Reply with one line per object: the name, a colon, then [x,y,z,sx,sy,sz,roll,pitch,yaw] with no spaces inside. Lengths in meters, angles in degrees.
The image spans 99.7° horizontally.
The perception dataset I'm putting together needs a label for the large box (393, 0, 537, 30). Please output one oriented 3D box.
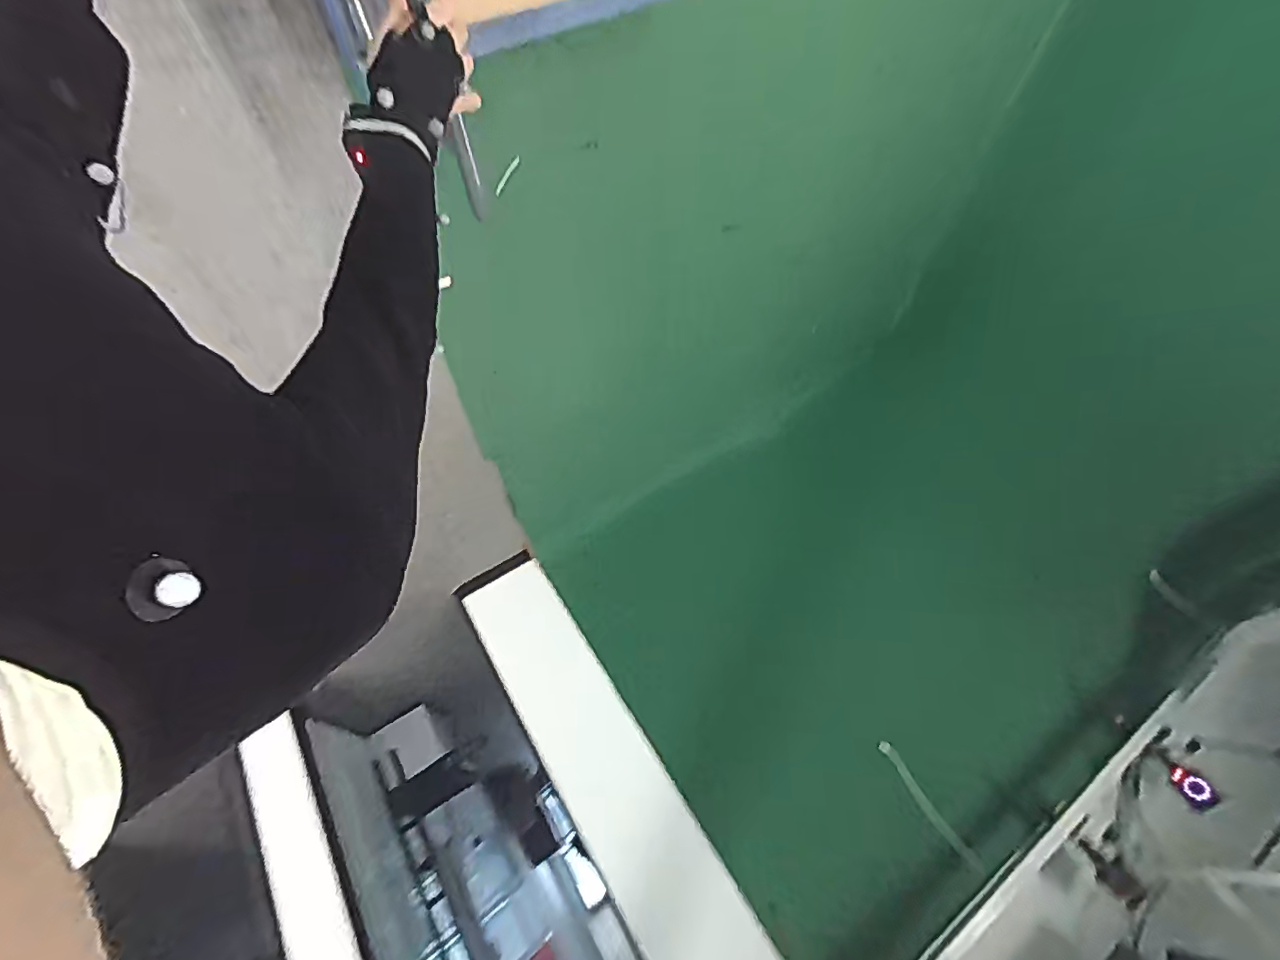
large box: [-0.267,-1.002,0.864,0.408,0.320,0.320,-31,152,-17]
